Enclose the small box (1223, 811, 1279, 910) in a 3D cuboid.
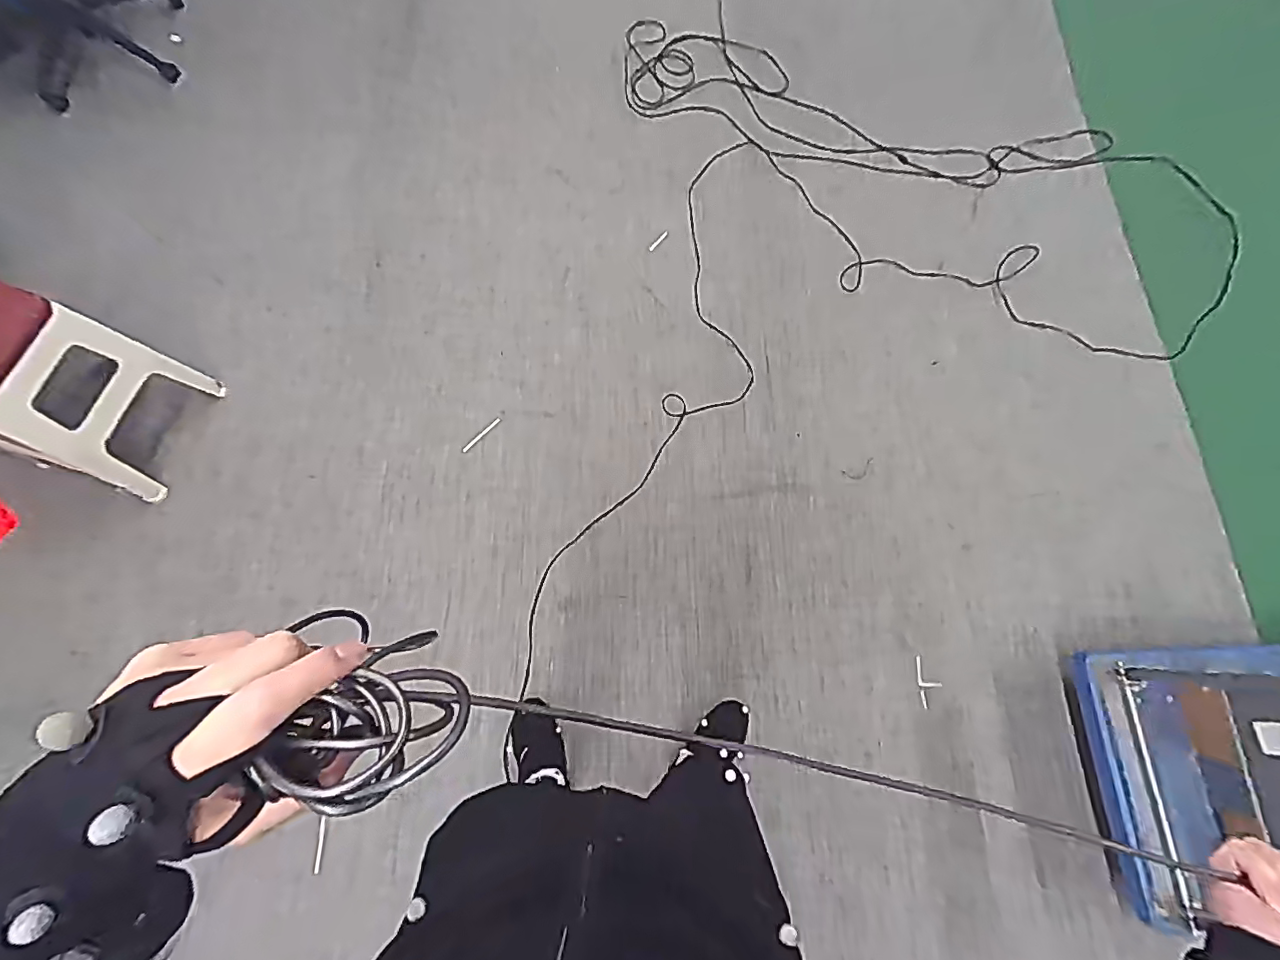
[{"bbox_3d":[1.392,0.799,1.117,0.179,0.176,0.168,0,73,-1],"label":"small box"}]
